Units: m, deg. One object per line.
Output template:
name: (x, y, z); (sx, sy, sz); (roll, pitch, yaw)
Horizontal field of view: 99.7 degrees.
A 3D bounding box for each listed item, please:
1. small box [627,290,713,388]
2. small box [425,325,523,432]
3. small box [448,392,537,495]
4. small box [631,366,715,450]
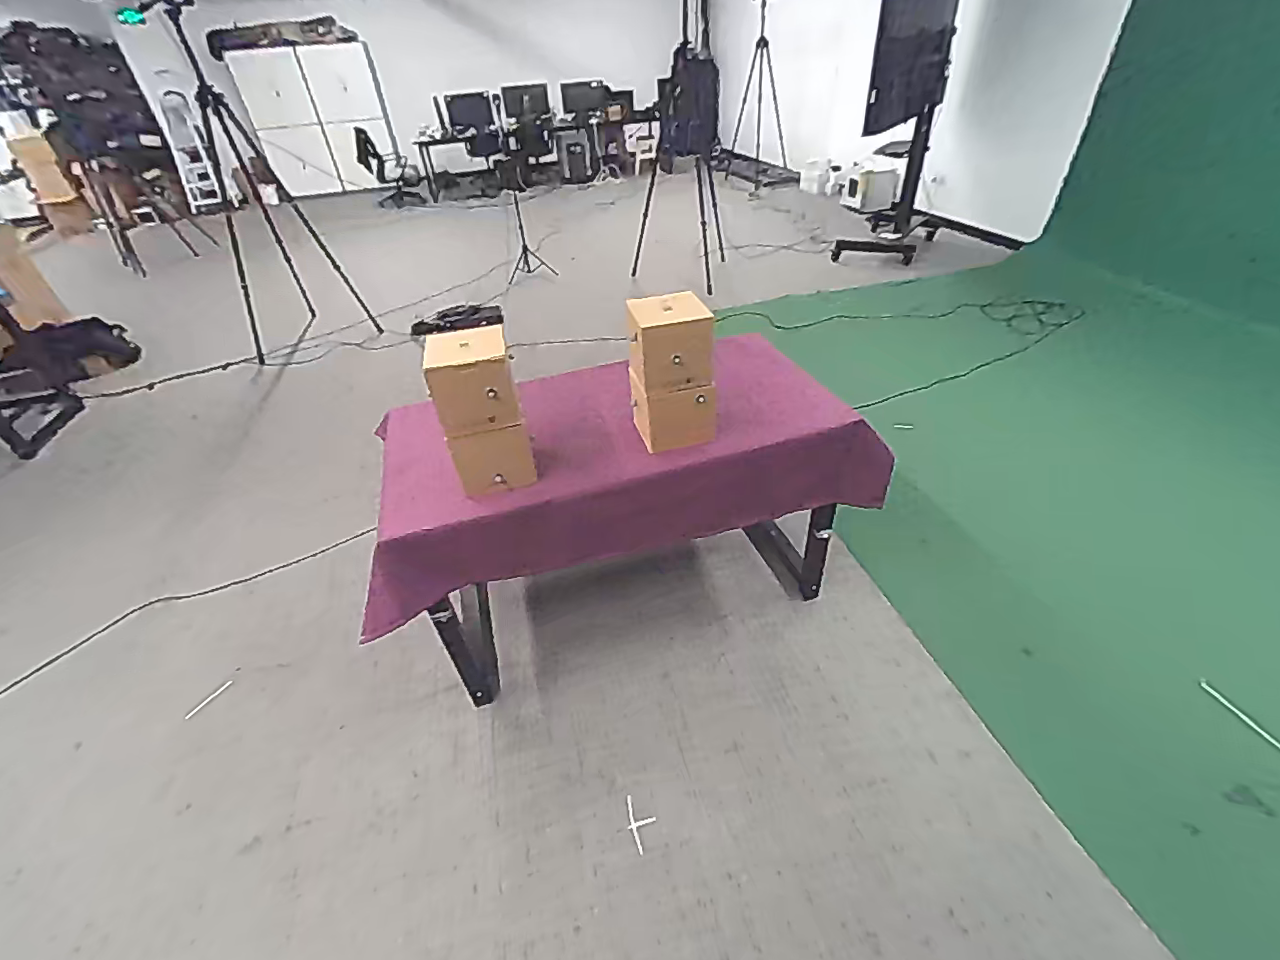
small box: (0.071, -0.327, 1.275); (0.168, 0.176, 0.179); (-11, 38, -7)
small box: (-0.360, -0.219, 1.193); (0.168, 0.176, 0.179); (-12, 38, -8)
small box: (-0.347, -0.088, 1.290); (0.179, 0.176, 0.168); (-13, 39, -10)
small box: (0.085, -0.195, 1.373); (0.179, 0.176, 0.168); (-12, 39, -9)
